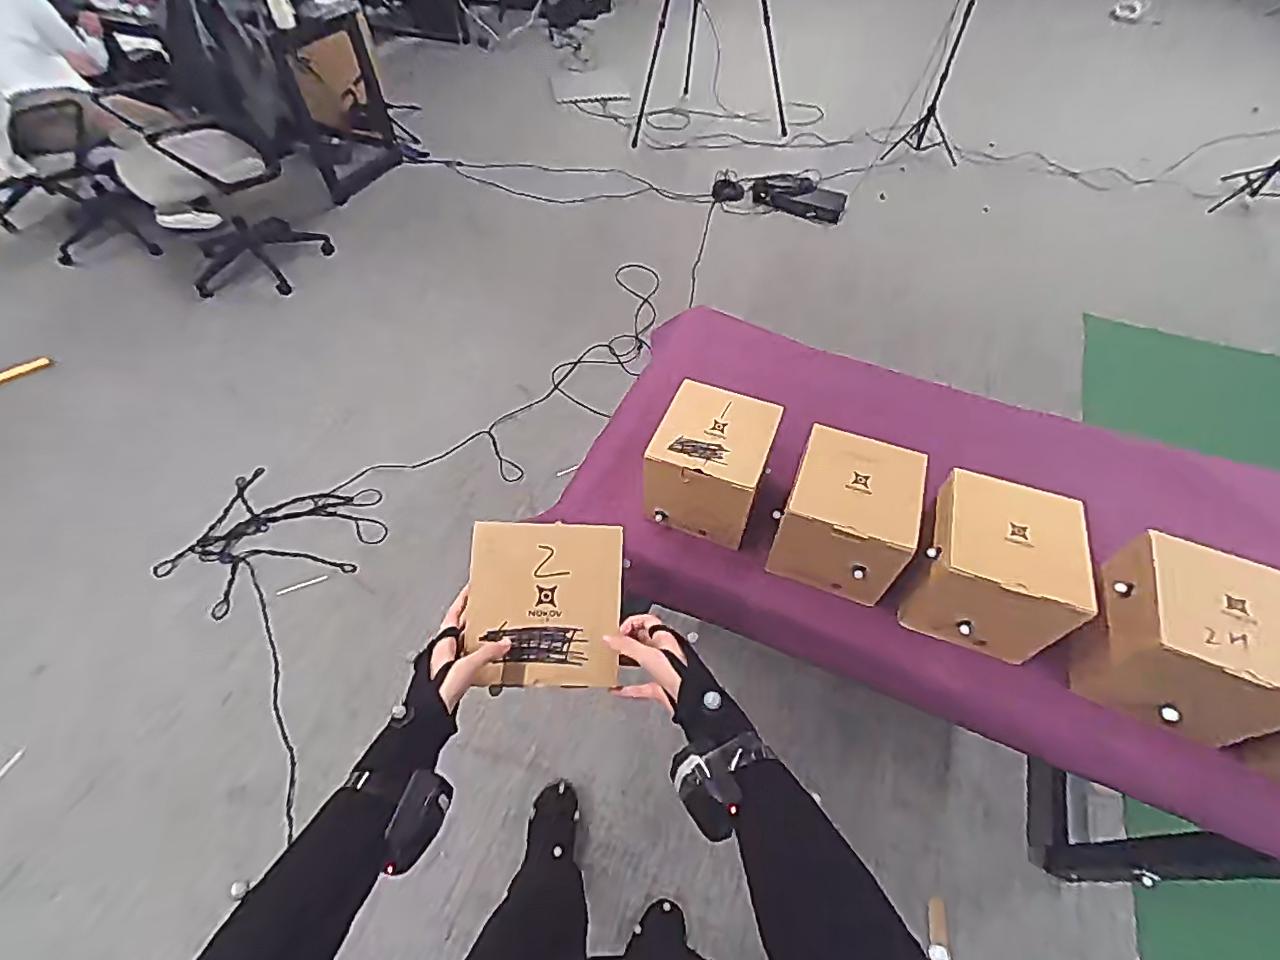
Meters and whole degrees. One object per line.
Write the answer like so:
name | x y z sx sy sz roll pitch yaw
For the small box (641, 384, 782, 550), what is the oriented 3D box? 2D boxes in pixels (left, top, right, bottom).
small box | 0.110 -0.016 0.857 0.168 0.176 0.179 19 55 14
